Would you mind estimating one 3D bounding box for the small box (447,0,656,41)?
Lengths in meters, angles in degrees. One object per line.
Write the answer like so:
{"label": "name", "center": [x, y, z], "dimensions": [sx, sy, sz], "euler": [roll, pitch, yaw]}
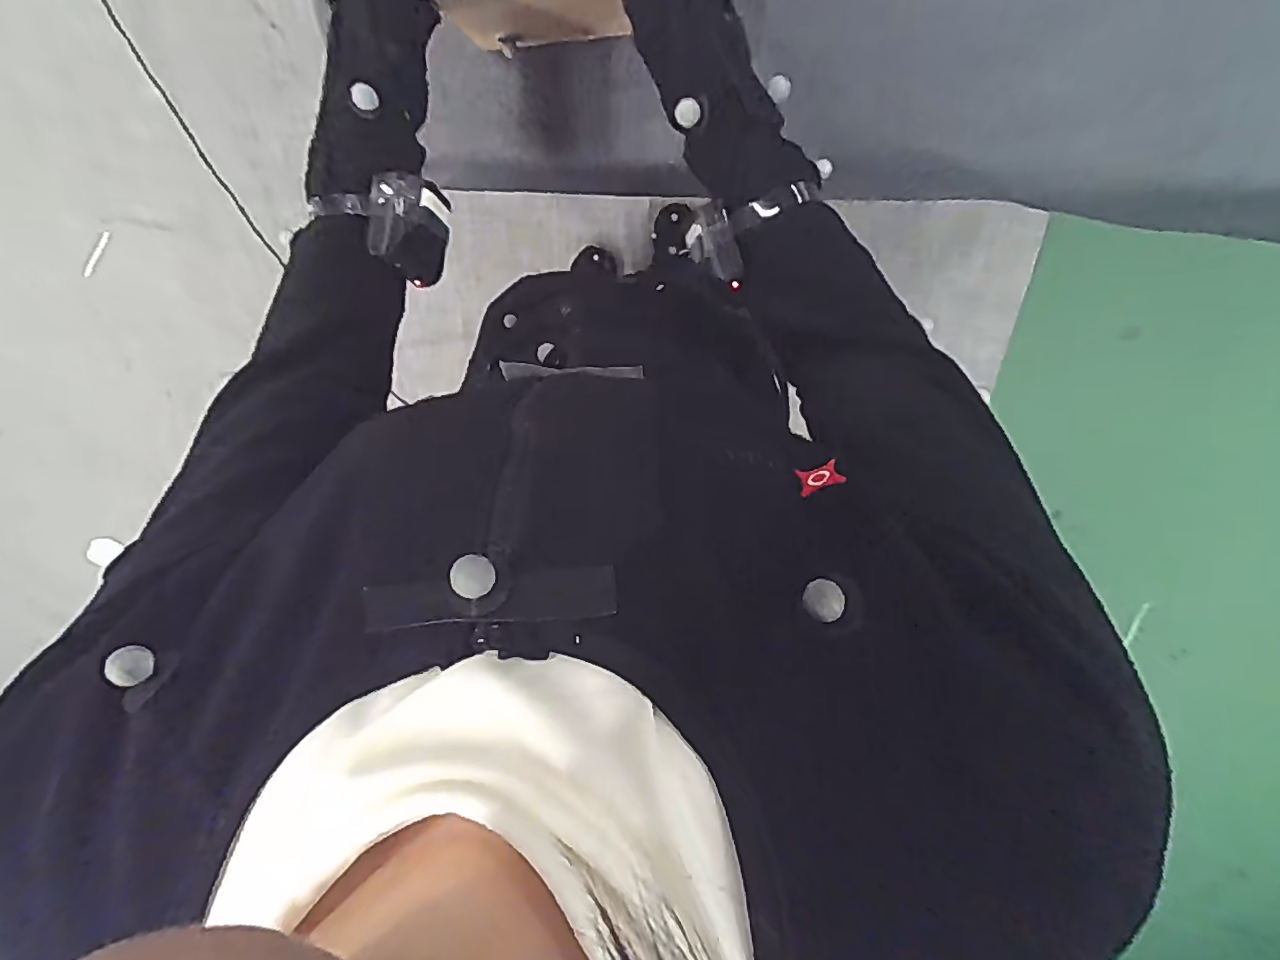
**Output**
{"label": "small box", "center": [-0.075, -0.460, 0.404], "dimensions": [0.168, 0.176, 0.179], "euler": [-3, 114, 4]}
